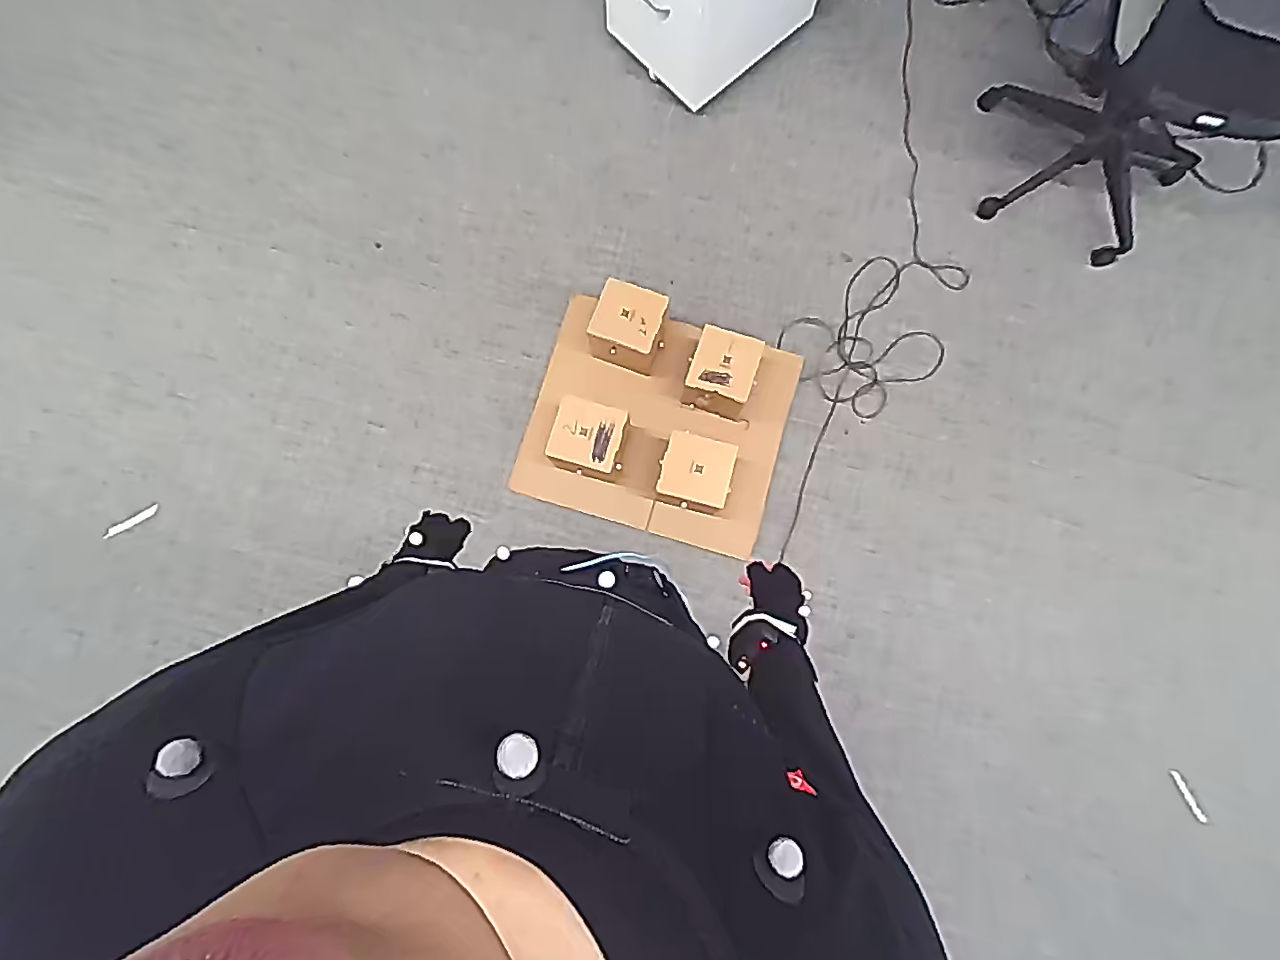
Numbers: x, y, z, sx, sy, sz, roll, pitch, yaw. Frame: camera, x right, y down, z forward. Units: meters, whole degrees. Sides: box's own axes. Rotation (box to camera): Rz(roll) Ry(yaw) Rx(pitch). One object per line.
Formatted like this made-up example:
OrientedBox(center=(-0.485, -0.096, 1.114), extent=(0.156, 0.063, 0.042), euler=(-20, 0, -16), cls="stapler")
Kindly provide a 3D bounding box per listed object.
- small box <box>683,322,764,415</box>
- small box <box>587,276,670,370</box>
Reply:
OrientedBox(center=(0.220, -0.294, 1.468), extent=(0.168, 0.176, 0.179), euler=(19, 82, 5), cls="small box")
OrientedBox(center=(-0.028, -0.424, 1.485), extent=(0.179, 0.176, 0.168), euler=(21, 83, 3), cls="small box")
